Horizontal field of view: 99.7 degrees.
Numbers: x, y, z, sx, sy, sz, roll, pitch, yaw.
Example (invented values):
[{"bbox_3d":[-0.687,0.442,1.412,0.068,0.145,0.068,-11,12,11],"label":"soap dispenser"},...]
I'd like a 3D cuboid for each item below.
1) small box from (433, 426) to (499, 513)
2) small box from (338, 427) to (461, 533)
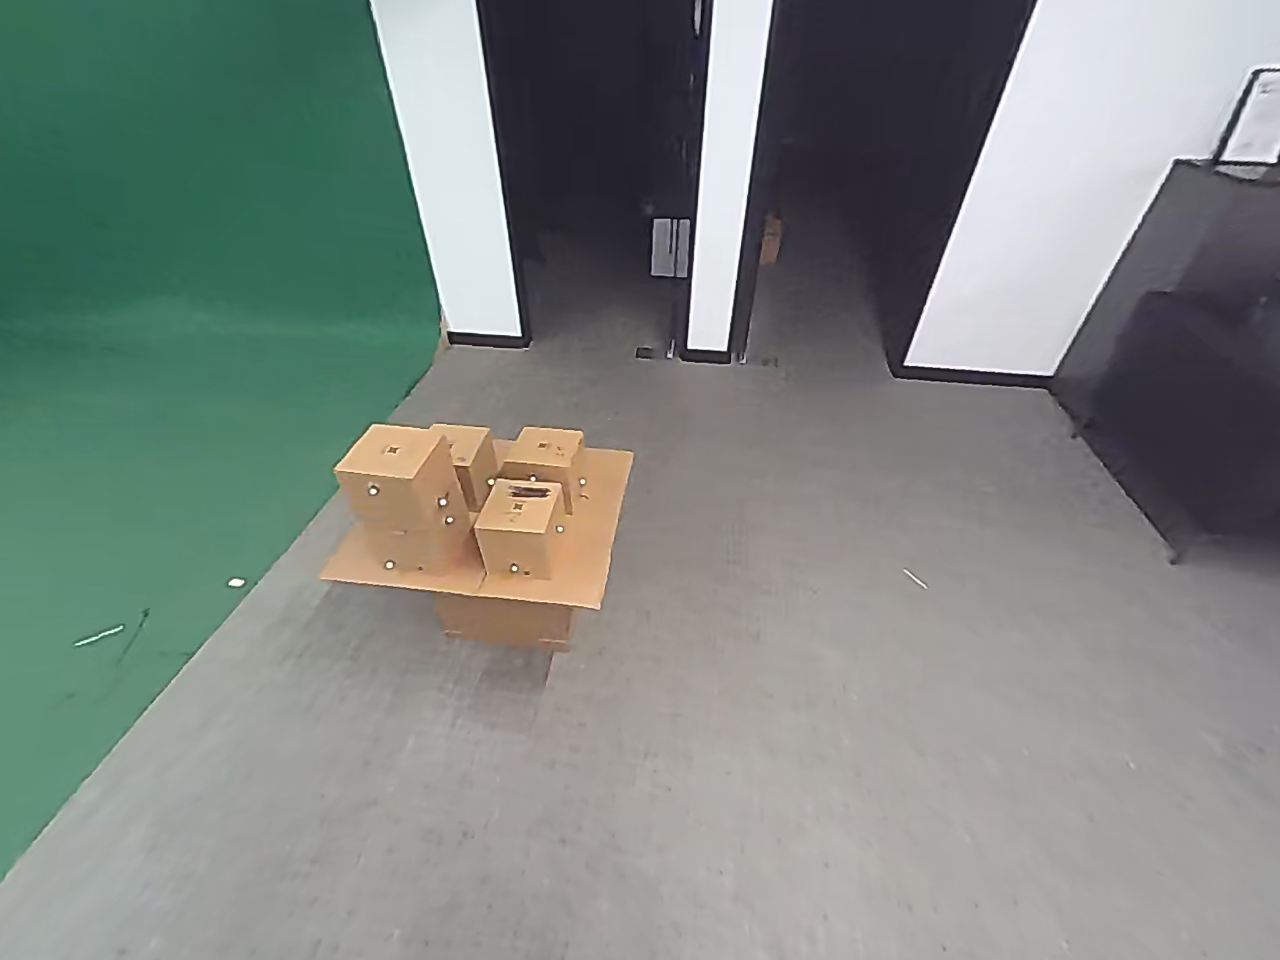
[{"bbox_3d":[-0.502,-0.031,1.509,0.168,0.176,0.179,3,39,5],"label":"small box"},{"bbox_3d":[-0.532,0.001,1.223,0.179,0.176,0.168,7,42,7],"label":"small box"}]
